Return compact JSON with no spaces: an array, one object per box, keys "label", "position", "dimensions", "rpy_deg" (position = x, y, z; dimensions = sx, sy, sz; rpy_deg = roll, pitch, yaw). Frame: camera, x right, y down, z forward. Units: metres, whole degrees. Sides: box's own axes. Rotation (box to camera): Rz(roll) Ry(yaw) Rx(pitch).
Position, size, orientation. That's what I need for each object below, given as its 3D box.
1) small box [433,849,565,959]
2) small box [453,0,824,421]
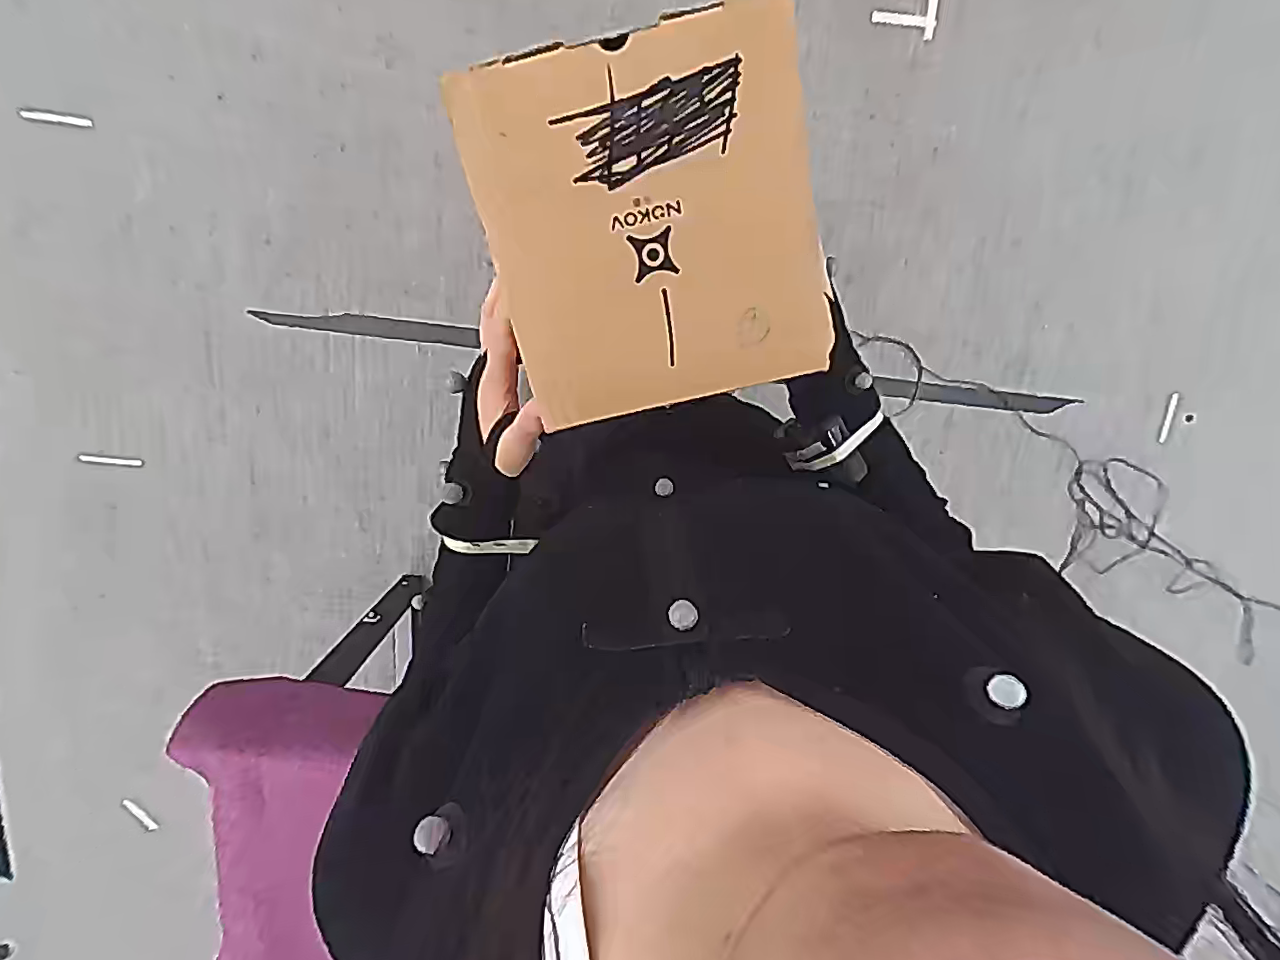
[{"label":"small box","position":[-0.204,0.692,0.809],"dimensions":[0.168,0.176,0.179],"rpy_deg":[5,102,-4]},{"label":"small box","position":[0.005,-0.156,0.352],"dimensions":[0.168,0.176,0.179],"rpy_deg":[-12,112,4]}]
